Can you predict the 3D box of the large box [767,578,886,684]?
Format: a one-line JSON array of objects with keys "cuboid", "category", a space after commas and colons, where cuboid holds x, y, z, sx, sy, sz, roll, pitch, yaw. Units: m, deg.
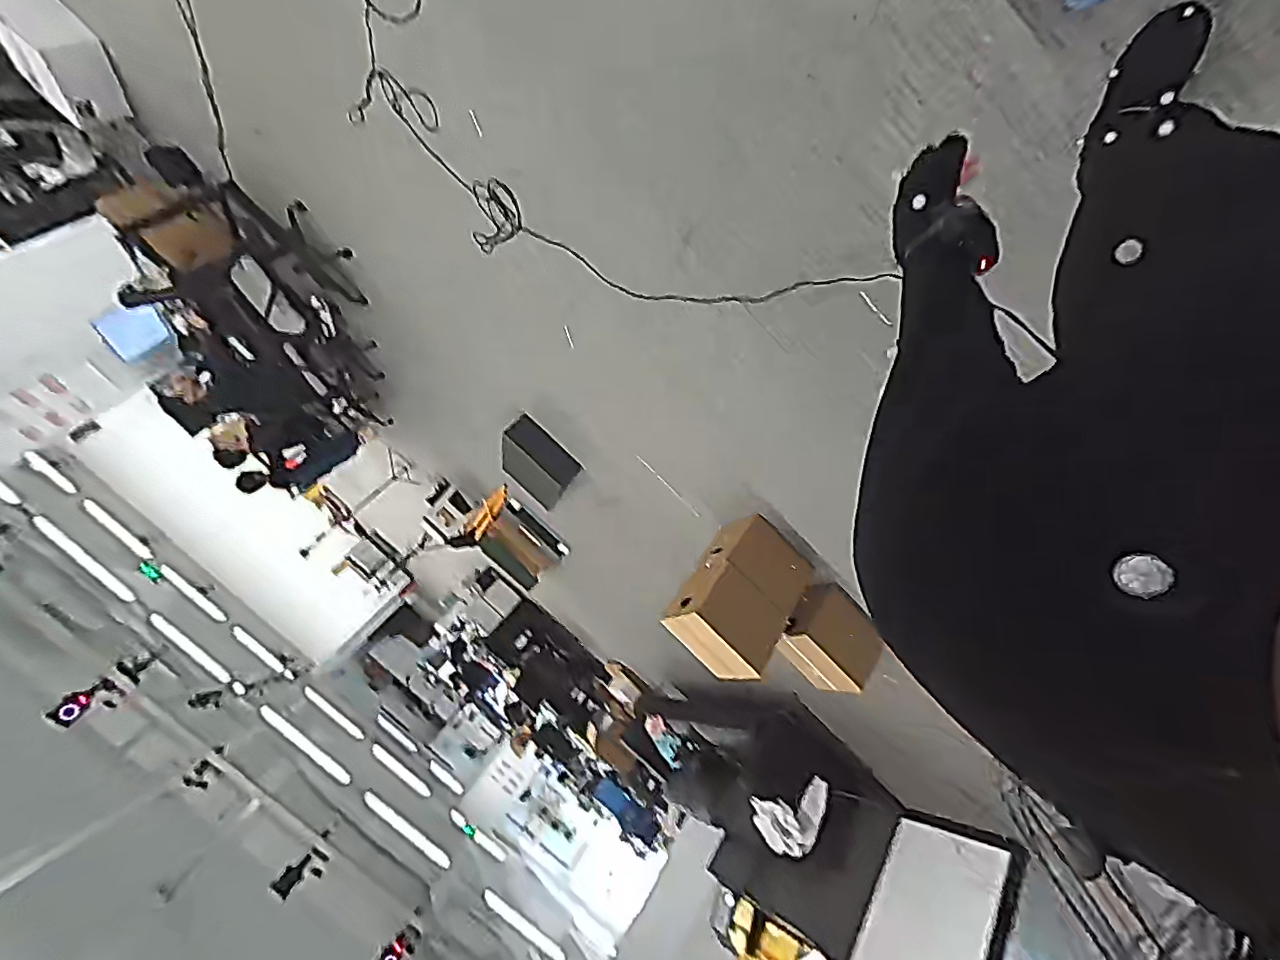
[{"cuboid": [0.917, 0.741, 2.661, 0.408, 0.320, 0.320, 44, 152, -8], "category": "large box"}]
